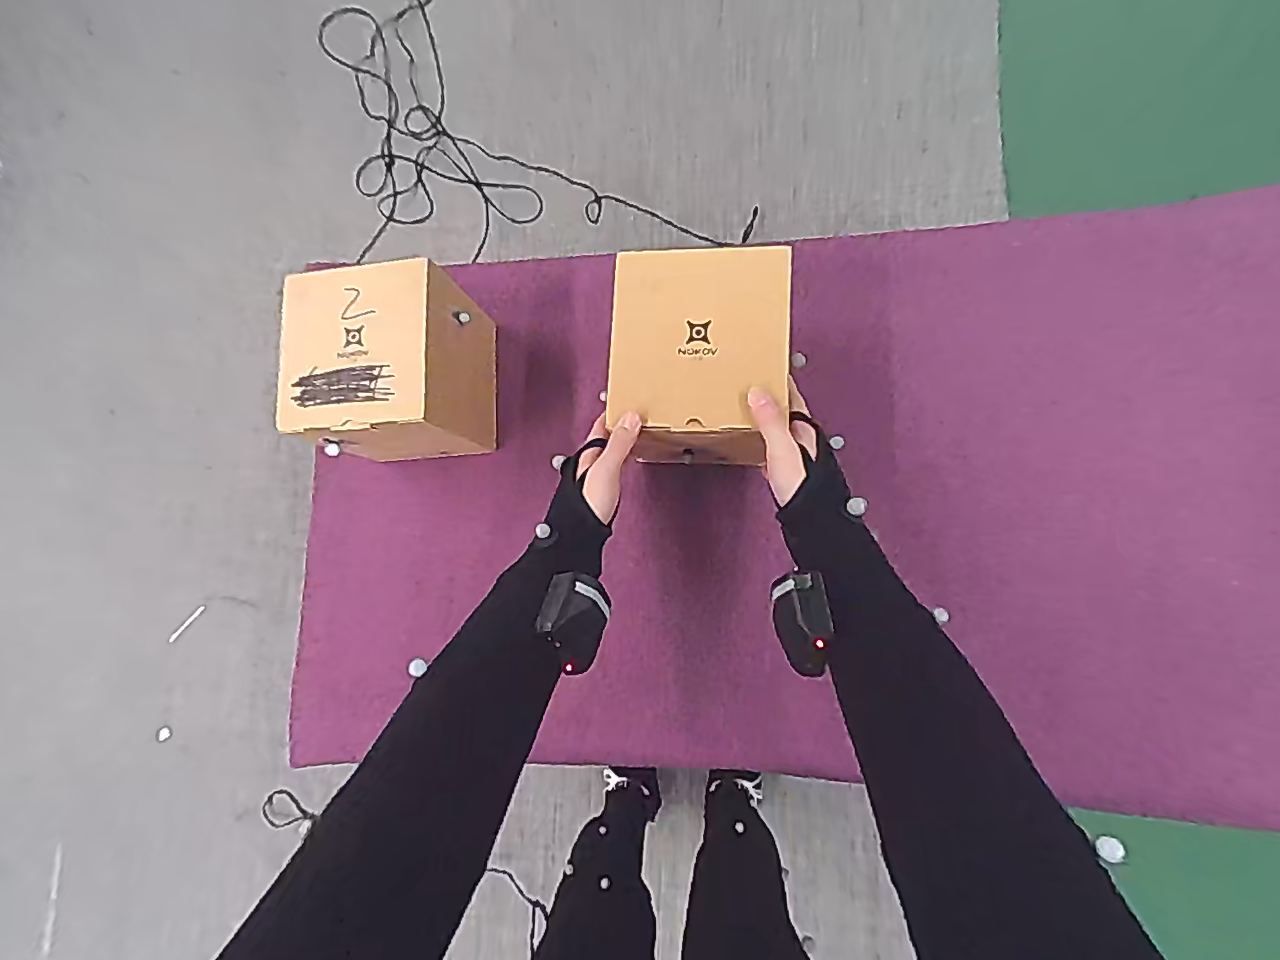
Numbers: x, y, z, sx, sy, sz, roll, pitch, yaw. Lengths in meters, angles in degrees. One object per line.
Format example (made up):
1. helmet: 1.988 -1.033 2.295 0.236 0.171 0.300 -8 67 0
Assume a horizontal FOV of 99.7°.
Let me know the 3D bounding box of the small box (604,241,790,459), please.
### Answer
1. small box: 0.063 -0.124 0.569 0.168 0.176 0.179 1 84 10
